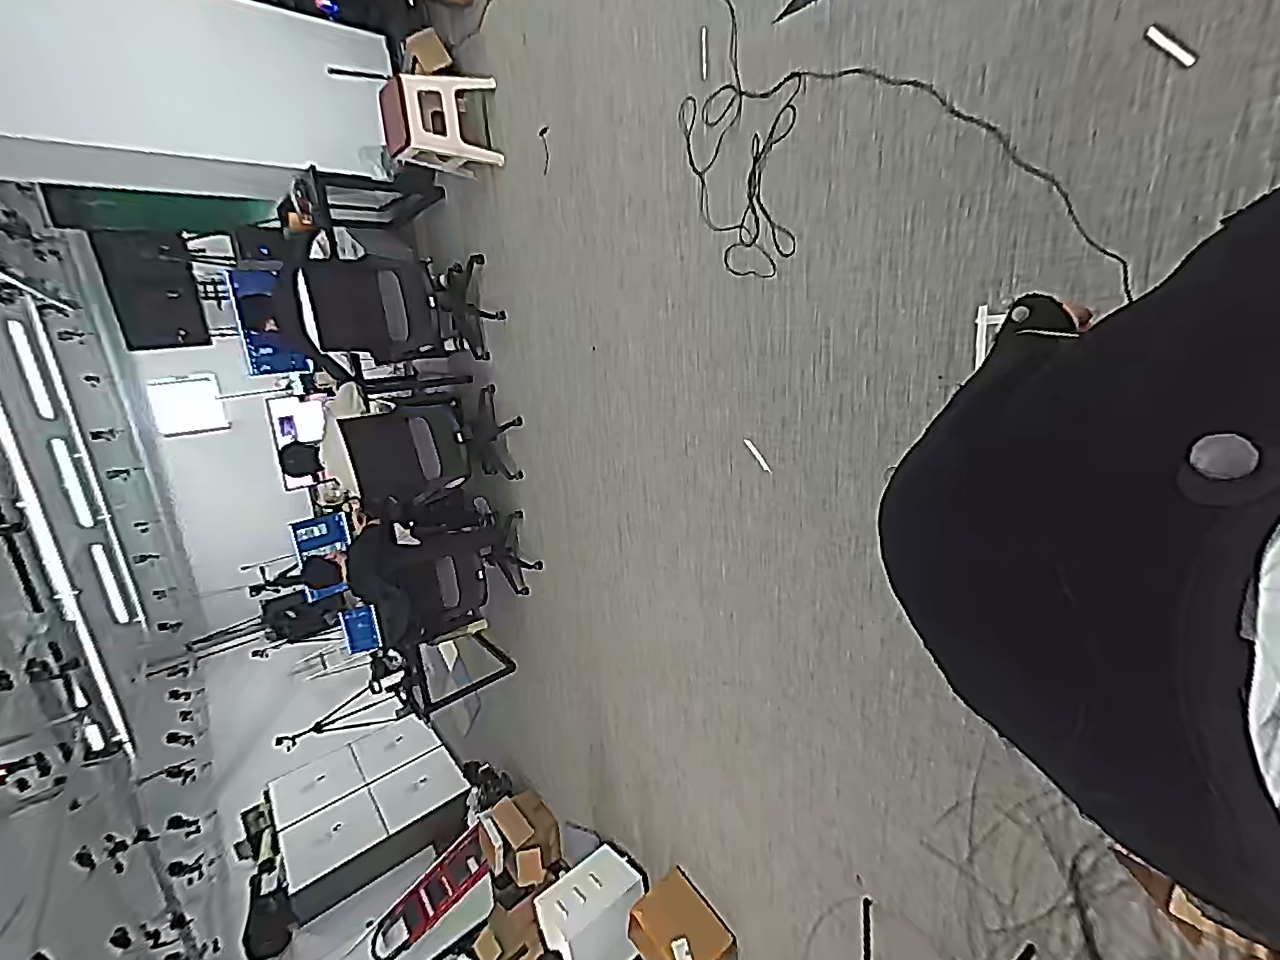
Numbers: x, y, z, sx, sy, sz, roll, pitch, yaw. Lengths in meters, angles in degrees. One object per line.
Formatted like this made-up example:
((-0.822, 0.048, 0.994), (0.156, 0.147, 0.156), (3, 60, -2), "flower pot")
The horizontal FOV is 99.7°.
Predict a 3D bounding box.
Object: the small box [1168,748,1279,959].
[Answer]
((0.840, 0.501, 0.711), (0.168, 0.176, 0.179), (15, 112, 48), "small box")
